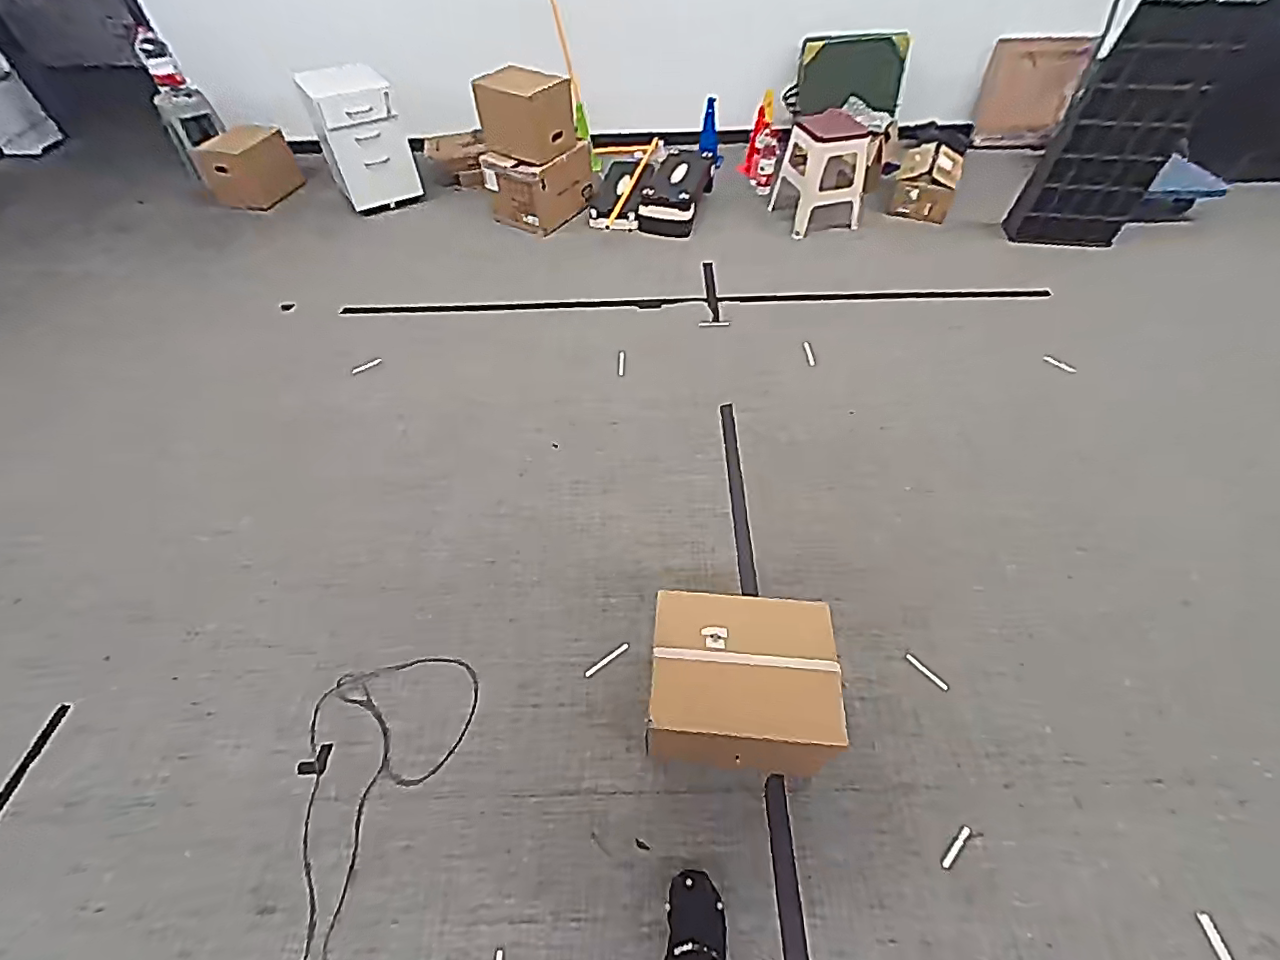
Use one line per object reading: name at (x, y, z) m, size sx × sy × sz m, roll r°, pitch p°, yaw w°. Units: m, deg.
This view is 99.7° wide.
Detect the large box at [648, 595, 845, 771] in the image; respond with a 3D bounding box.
large box at (0.231, 0.494, 1.304) m, size 0.408 × 0.320 × 0.320 m, roll 3°, pitch 51°, yaw 4°
